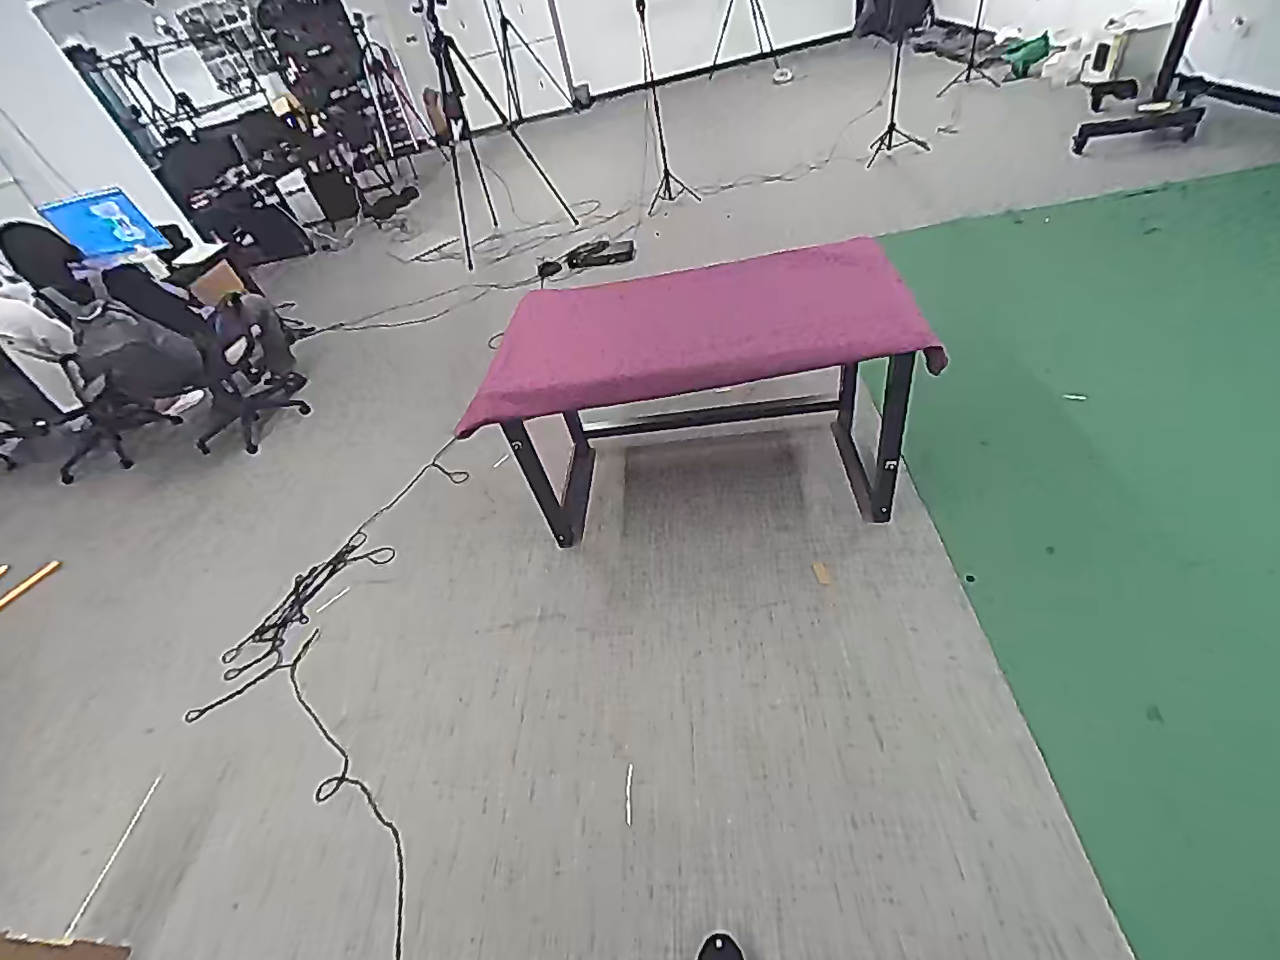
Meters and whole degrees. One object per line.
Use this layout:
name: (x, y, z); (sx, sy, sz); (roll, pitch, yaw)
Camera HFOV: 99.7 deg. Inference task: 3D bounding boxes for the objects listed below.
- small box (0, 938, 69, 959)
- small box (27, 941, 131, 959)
small box: (-1.420, 1.108, 1.162); (0.168, 0.176, 0.179); (-7, 43, 8)
small box: (-1.386, 1.216, 1.281); (0.168, 0.176, 0.179); (-8, 43, 9)
